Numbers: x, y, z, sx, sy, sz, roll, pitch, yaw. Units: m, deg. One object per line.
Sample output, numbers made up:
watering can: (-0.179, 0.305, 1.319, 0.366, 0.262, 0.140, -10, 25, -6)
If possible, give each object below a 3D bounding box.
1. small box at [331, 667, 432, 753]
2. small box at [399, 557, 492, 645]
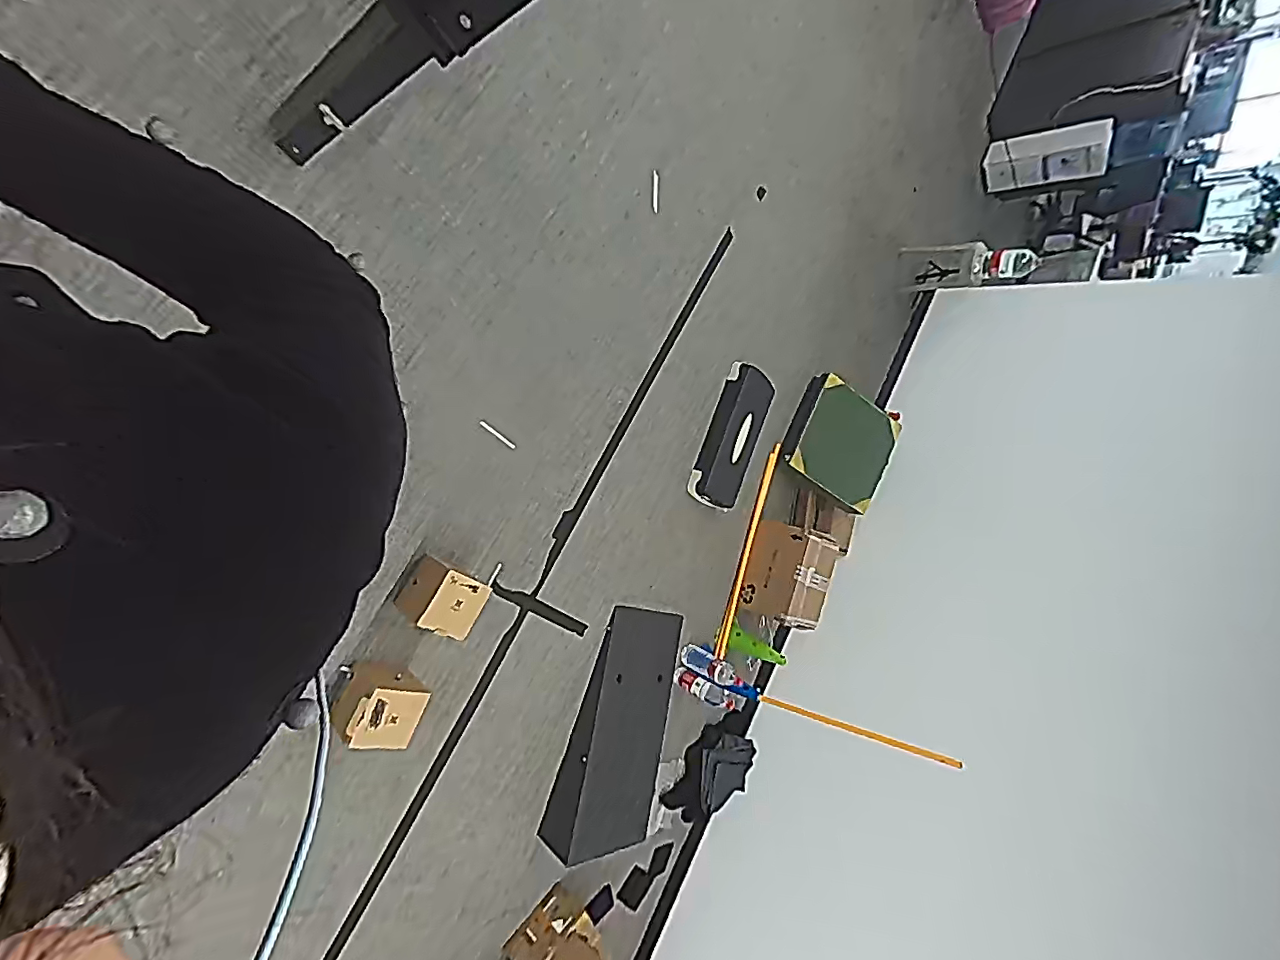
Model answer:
small box: (-0.731, 0.642, 1.520, 0.179, 0.176, 0.168, 33, 78, -46)
small box: (-0.579, 0.352, 1.593, 0.168, 0.176, 0.179, 42, 72, -44)
